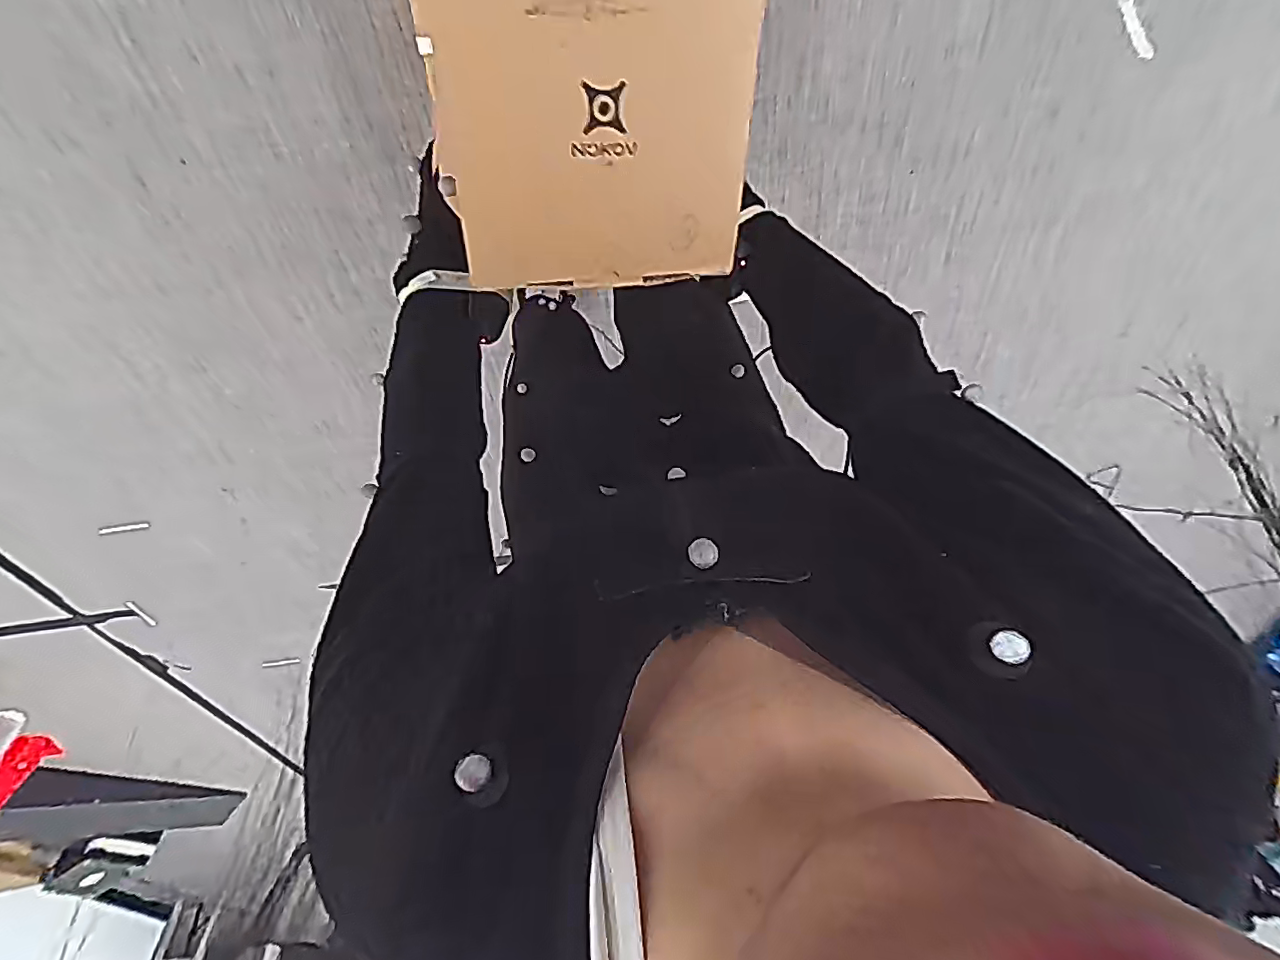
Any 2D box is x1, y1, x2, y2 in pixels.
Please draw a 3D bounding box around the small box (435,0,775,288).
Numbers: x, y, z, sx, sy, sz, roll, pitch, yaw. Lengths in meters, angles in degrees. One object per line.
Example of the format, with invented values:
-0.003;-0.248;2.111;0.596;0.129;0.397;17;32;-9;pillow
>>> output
-0.032;-0.241;0.345;0.168;0.176;0.179;-9;129;-11;small box
